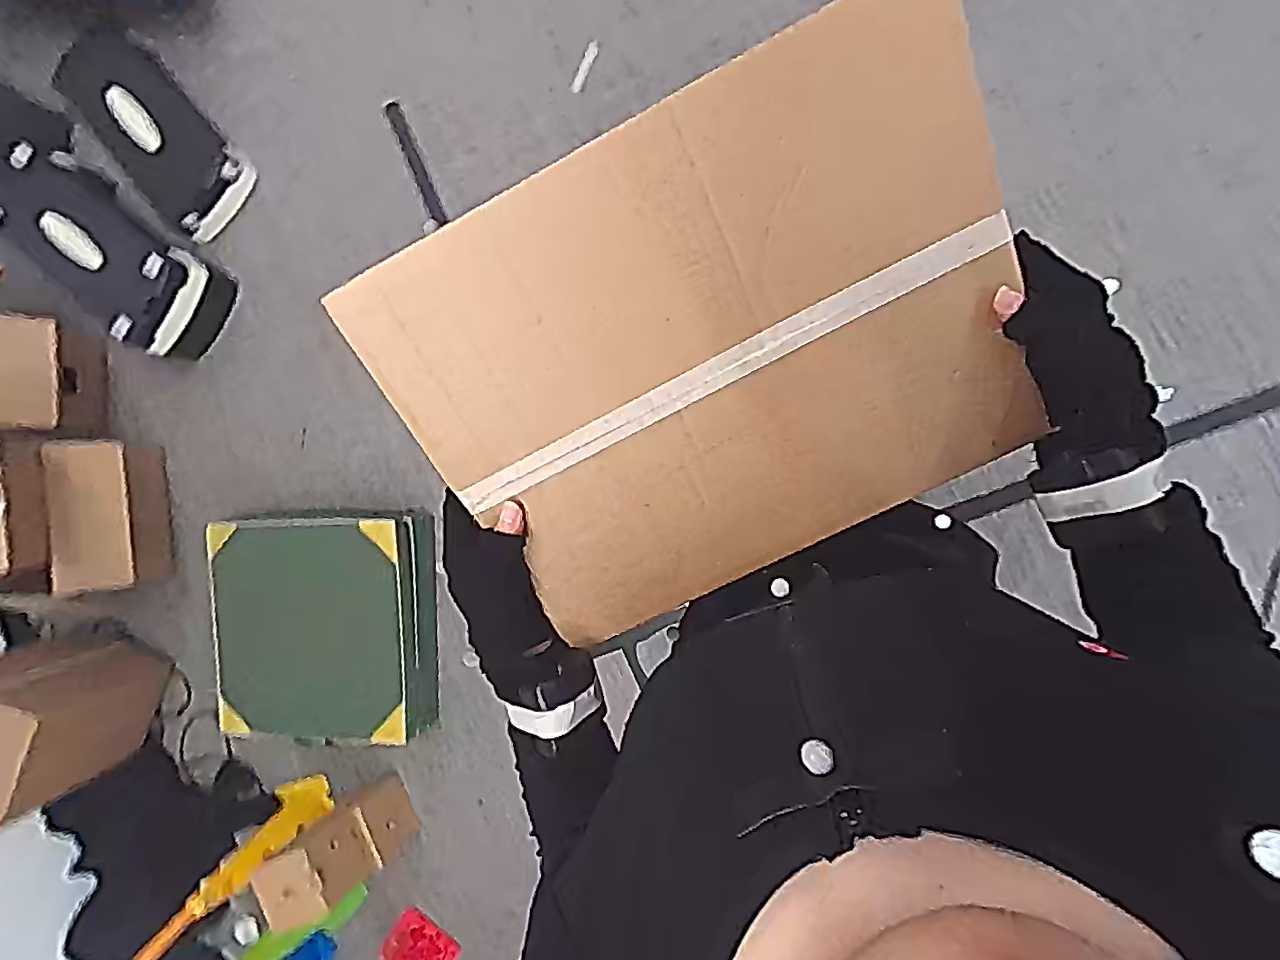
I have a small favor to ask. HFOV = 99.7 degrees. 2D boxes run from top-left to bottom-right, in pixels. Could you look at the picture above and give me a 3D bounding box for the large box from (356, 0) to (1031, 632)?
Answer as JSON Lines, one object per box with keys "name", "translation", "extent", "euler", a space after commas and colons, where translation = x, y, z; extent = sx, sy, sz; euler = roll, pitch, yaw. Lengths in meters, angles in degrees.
{"name": "large box", "translation": [0.045, -0.134, 0.516], "extent": [0.408, 0.320, 0.320], "euler": [-25, 112, 6]}
